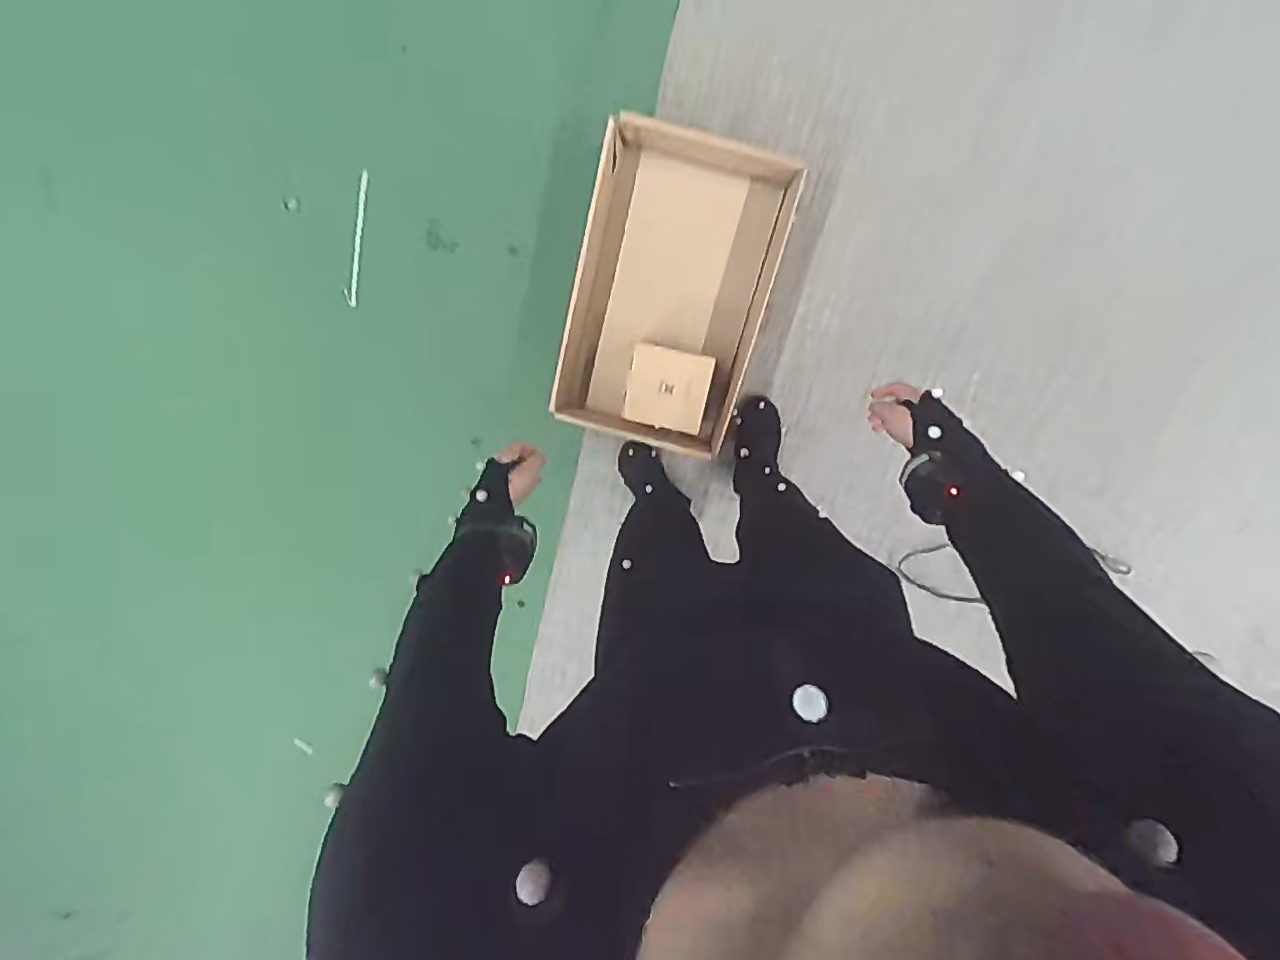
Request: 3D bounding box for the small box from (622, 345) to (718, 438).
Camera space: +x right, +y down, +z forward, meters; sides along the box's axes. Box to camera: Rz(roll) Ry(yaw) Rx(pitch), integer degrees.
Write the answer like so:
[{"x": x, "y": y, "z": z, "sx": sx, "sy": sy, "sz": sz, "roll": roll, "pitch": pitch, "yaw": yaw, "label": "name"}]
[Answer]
[{"x": 0.068, "y": -0.206, "z": 1.224, "sx": 0.179, "sy": 0.176, "sz": 0.168, "roll": 12, "pitch": 106, "yaw": 1, "label": "small box"}]
